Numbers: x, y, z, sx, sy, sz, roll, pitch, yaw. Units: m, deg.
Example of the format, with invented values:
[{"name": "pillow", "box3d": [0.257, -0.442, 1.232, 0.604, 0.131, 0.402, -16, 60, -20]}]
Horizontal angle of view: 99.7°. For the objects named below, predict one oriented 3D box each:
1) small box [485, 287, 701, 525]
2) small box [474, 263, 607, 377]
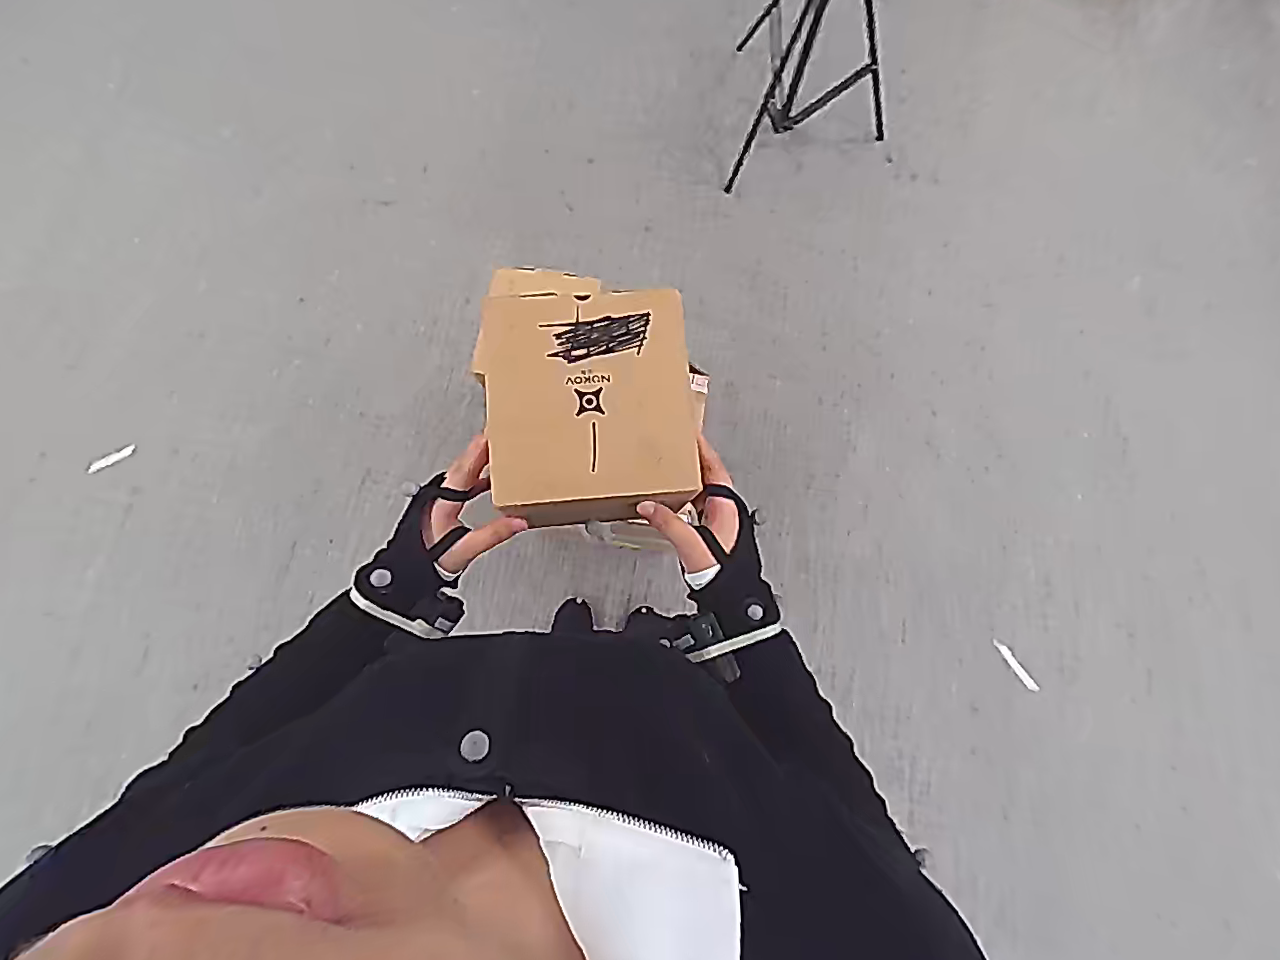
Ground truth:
[{"name": "small box", "box3d": [-0.047, -0.058, 0.510, 0.168, 0.176, 0.179, -4, 80, -6]}, {"name": "small box", "box3d": [-0.145, -0.212, 0.862, 0.168, 0.176, 0.179, 9, 80, 3]}]
